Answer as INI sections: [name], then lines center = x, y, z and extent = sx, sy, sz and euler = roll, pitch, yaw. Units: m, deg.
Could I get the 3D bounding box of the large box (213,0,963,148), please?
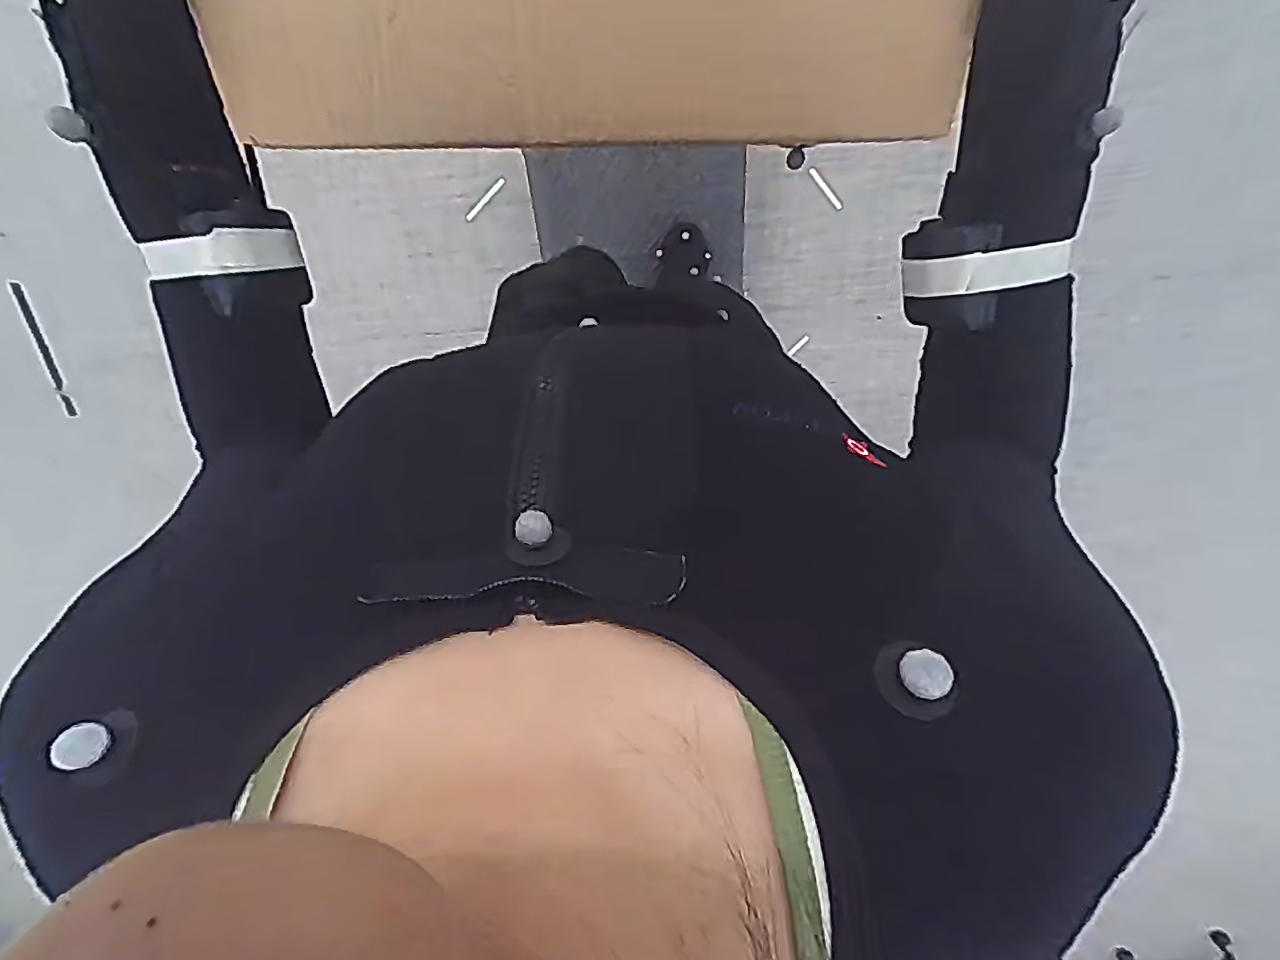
[large box]
center = -0.027, -0.412, 0.359
extent = 0.408, 0.320, 0.320
euler = -1, 123, -1
